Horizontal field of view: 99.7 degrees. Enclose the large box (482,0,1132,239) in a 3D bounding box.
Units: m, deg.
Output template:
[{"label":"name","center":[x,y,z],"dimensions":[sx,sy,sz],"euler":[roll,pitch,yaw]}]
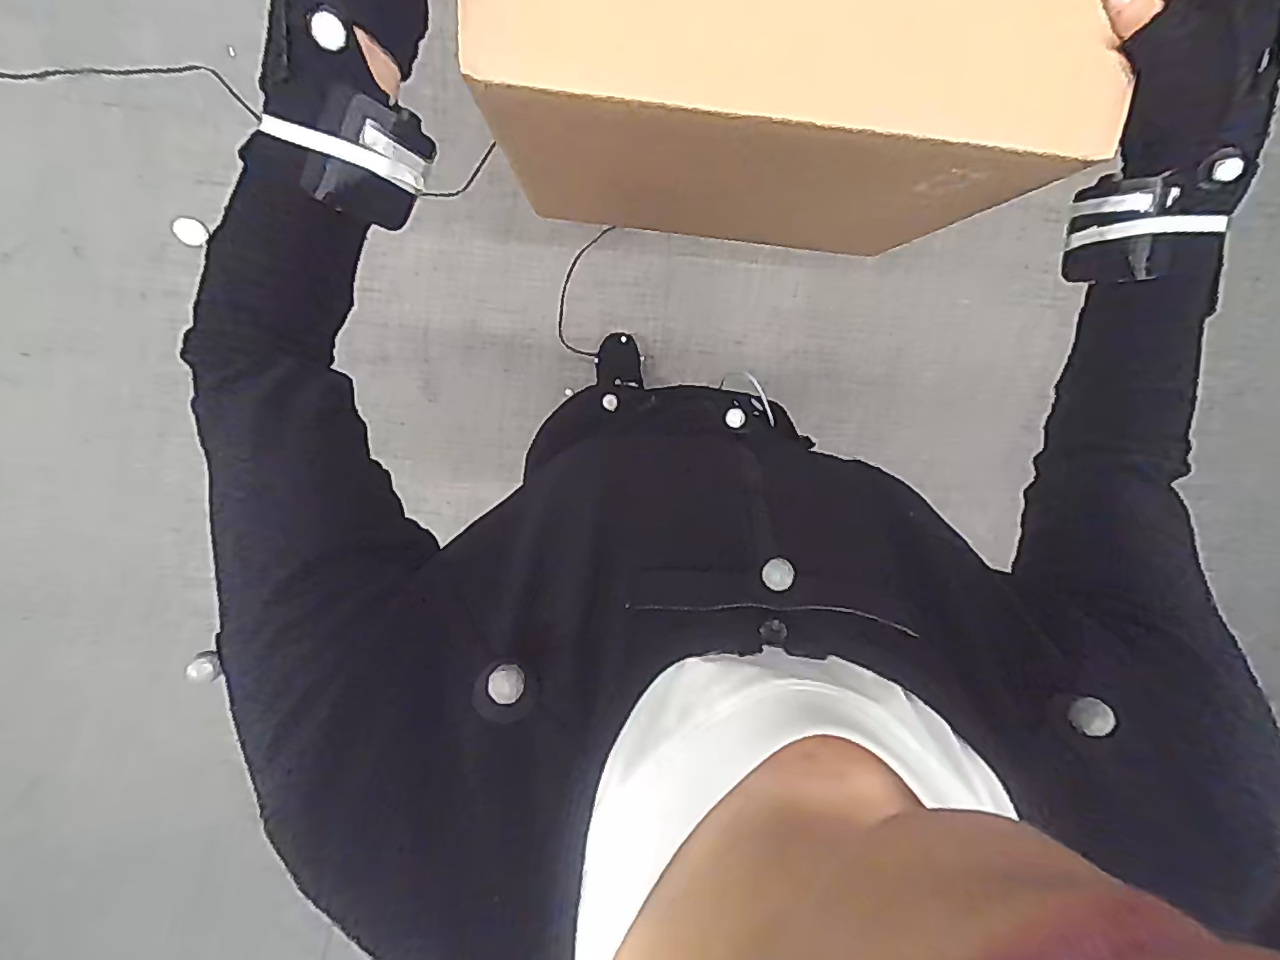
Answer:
[{"label":"large box","center":[0.102,-0.412,0.450],"dimensions":[0.408,0.320,0.320],"euler":[4,103,-5]}]
